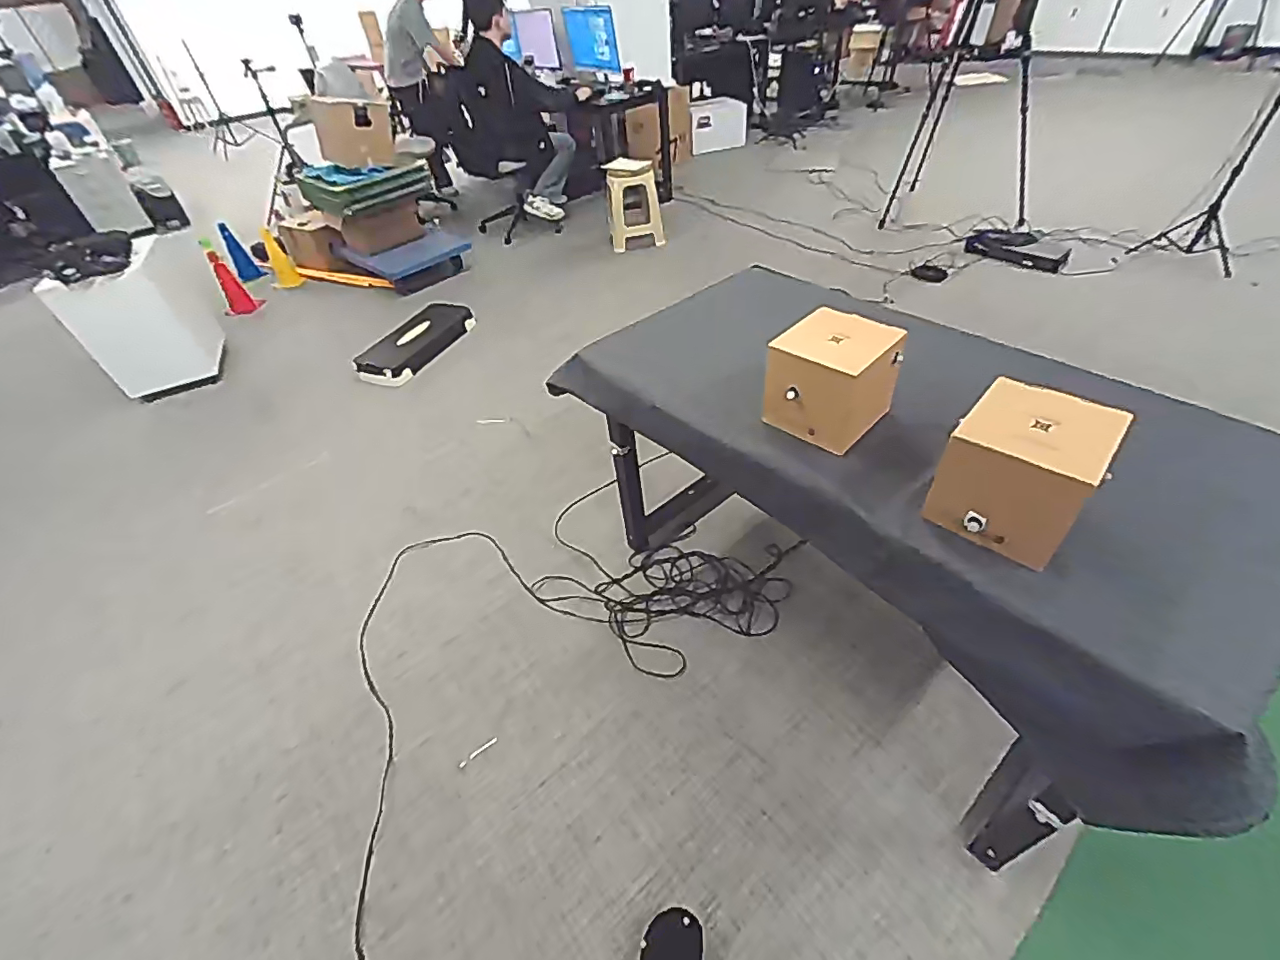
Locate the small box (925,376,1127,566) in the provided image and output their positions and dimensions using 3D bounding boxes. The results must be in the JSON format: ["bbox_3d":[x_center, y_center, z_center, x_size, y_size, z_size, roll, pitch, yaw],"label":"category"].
[{"bbox_3d":[0.533,-0.015,0.767,0.168,0.176,0.179,29,54,33],"label":"small box"}]

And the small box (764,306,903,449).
[{"bbox_3d":[0.335,-0.182,0.964,0.168,0.176,0.179,31,54,33],"label":"small box"}]
